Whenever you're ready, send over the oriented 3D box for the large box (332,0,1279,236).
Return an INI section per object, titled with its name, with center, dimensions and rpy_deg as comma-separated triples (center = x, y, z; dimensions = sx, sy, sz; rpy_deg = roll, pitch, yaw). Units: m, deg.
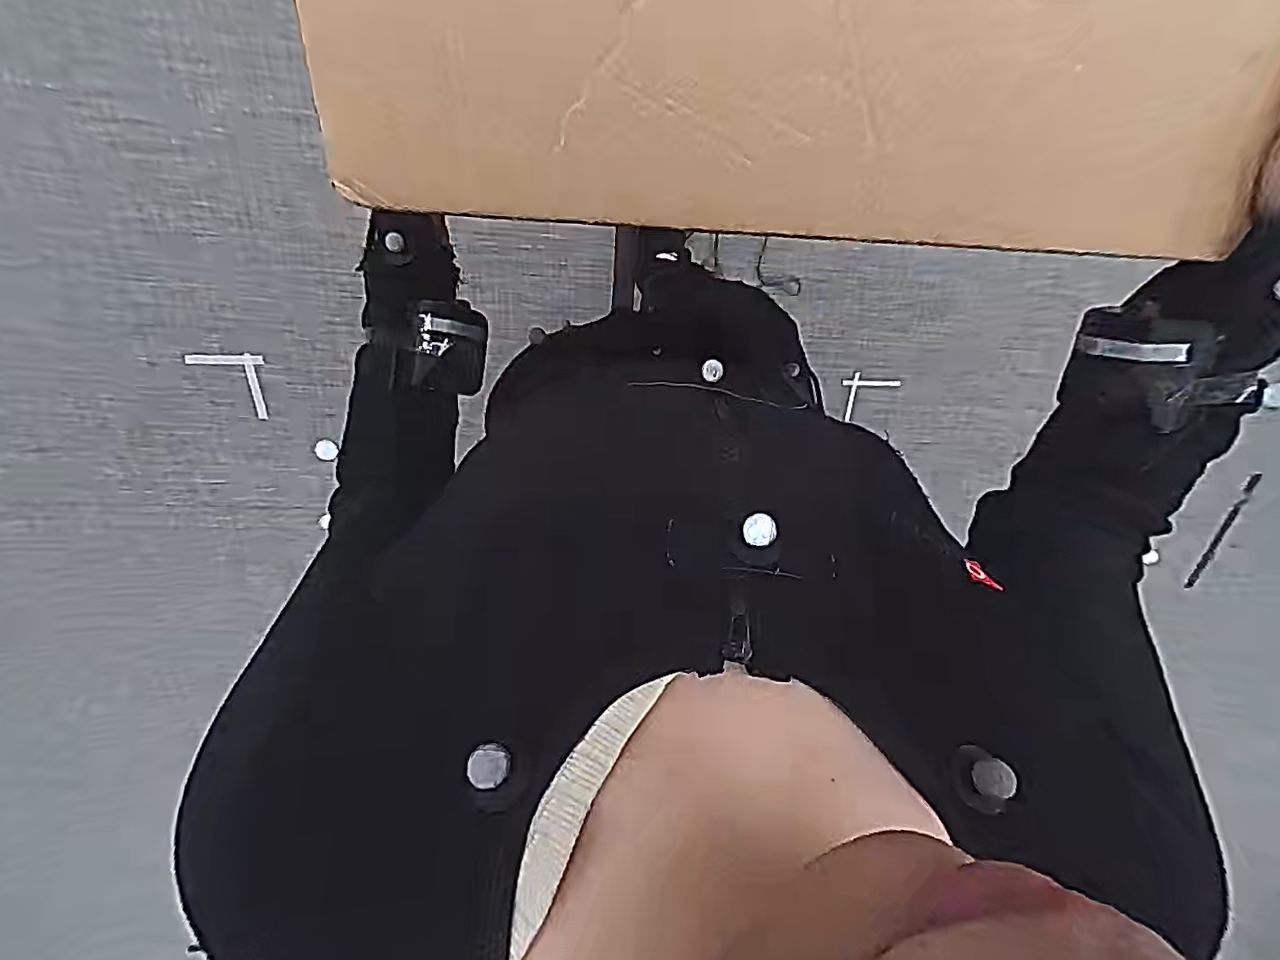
[large box]
center = 0.072, -0.323, 0.293
dimensions = 0.408, 0.320, 0.320
rpy_deg = -1, 122, -9
